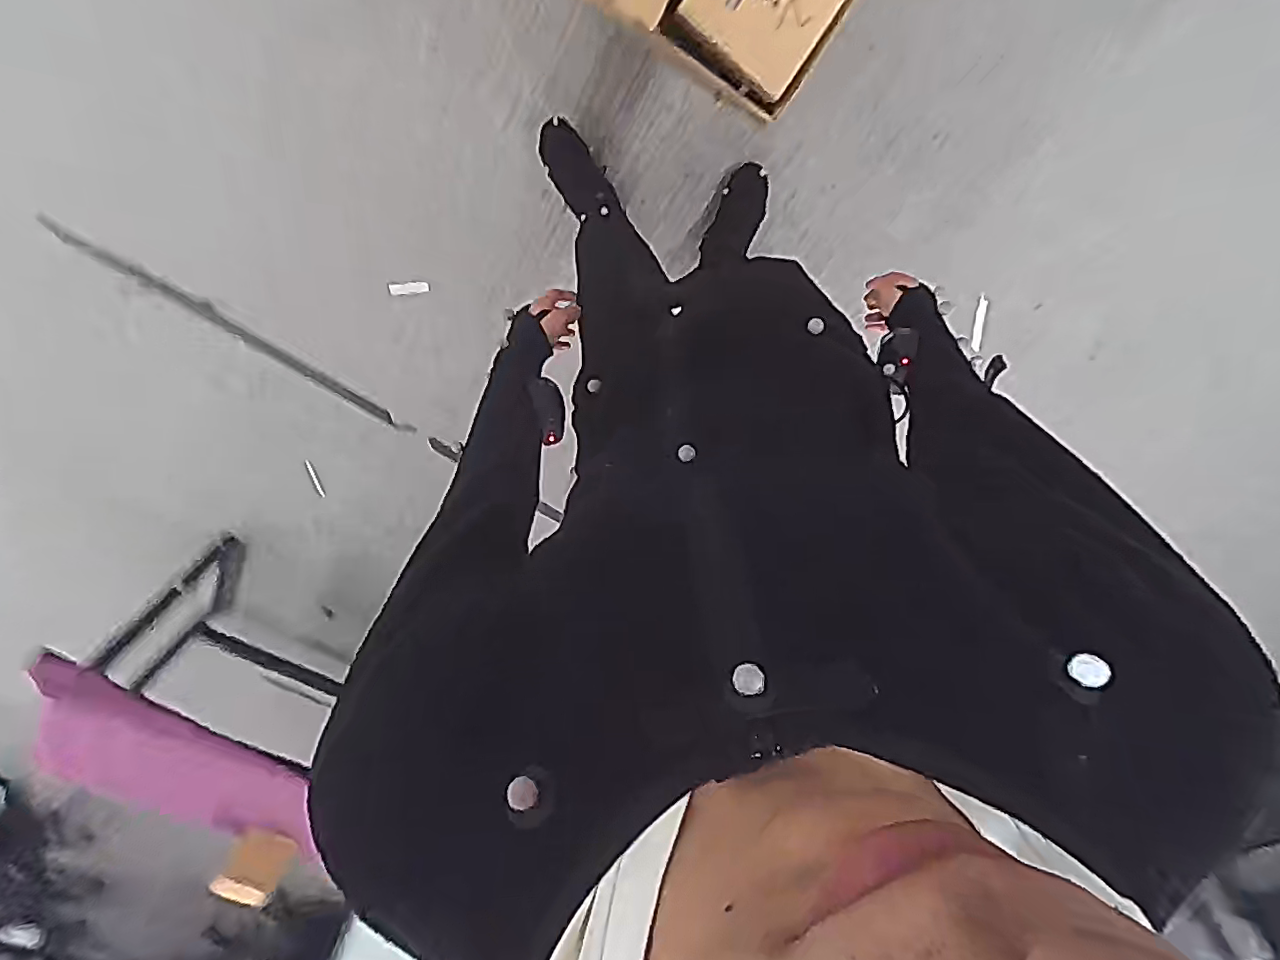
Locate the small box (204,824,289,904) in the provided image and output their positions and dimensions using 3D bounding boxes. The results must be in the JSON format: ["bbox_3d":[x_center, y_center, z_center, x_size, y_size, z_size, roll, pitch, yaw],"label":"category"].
[{"bbox_3d":[-1.397,1.368,1.929,0.168,0.176,0.179,35,121,-16],"label":"small box"}]
